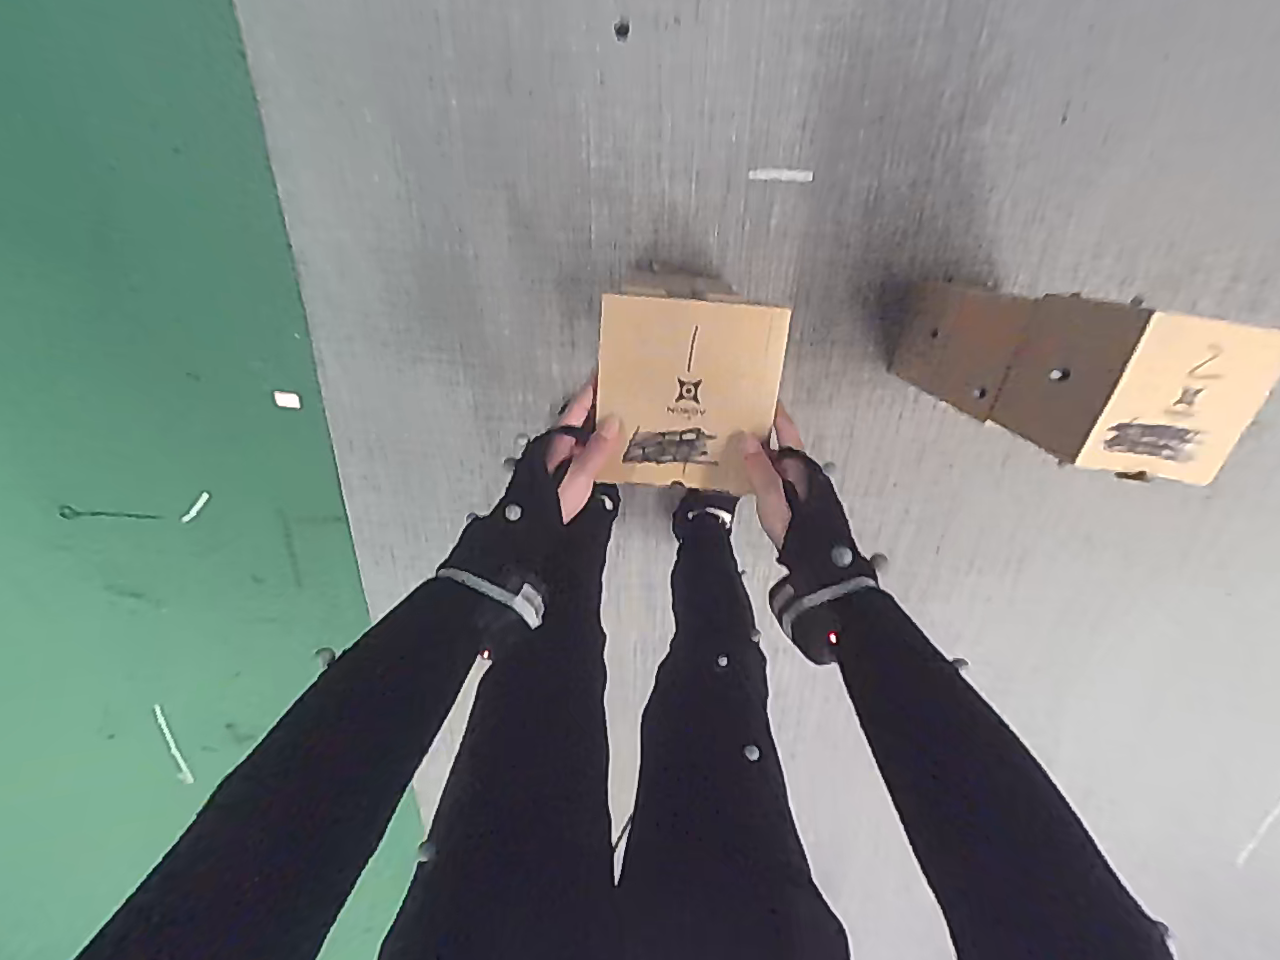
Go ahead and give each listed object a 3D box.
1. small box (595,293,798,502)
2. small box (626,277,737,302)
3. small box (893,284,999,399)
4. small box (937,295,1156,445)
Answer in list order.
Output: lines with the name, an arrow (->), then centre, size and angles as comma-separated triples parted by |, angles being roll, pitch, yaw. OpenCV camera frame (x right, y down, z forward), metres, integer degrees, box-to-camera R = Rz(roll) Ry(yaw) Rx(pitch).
small box -> 0.050, -0.094, 0.558 | 0.168, 0.176, 0.179 | 5, 109, 1
small box -> 0.056, -0.194, 0.806 | 0.168, 0.176, 0.179 | 6, 116, -1
small box -> 0.576, -0.235, 0.950 | 0.168, 0.176, 0.179 | 13, 115, -2
small box -> 0.580, -0.171, 0.803 | 0.168, 0.176, 0.179 | 7, 115, -2
